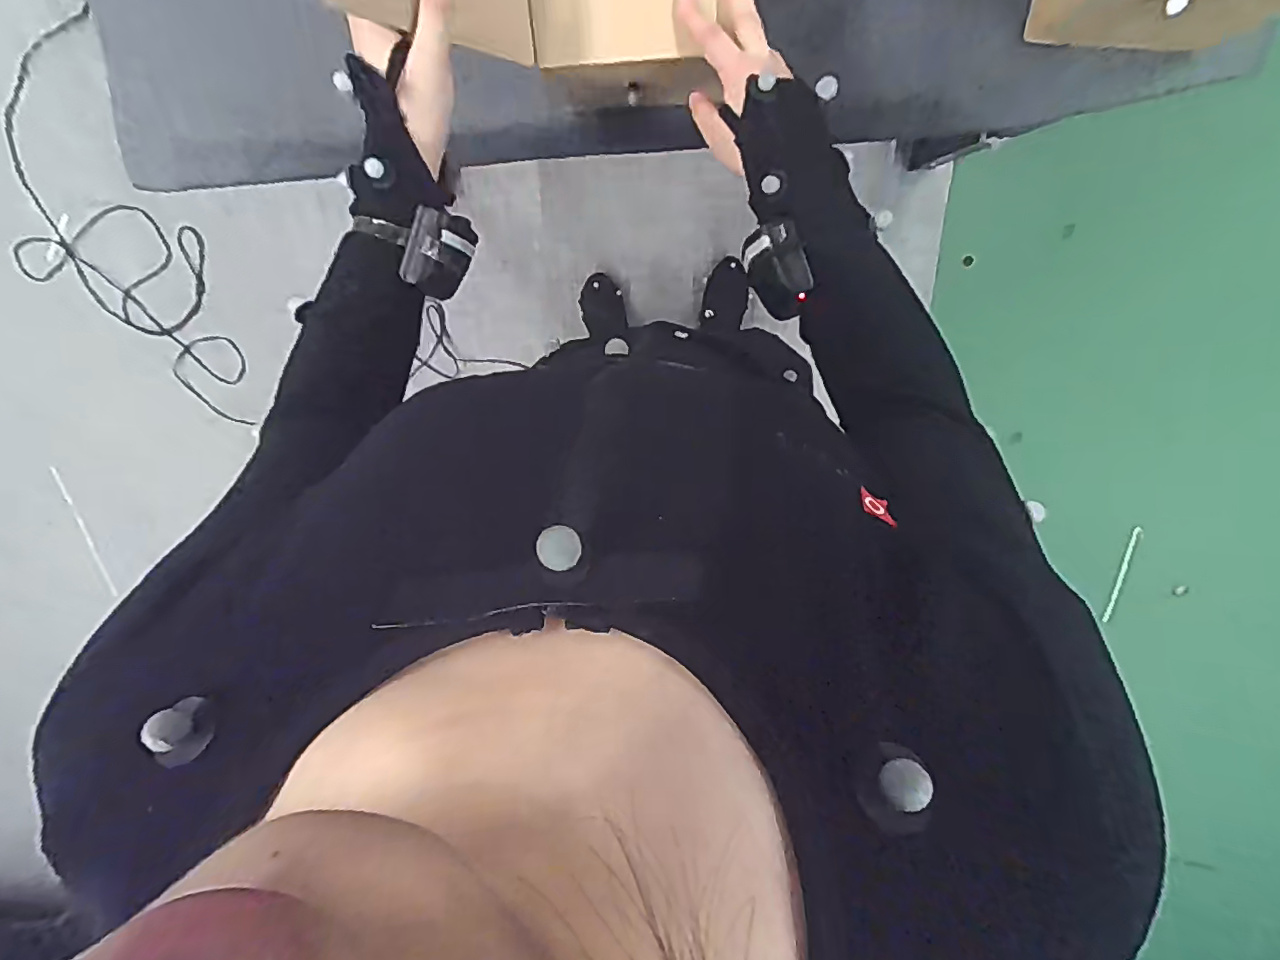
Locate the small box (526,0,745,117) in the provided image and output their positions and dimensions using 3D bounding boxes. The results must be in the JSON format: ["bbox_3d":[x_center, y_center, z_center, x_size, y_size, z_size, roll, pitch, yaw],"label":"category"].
[{"bbox_3d":[0.000,-0.443,0.487,0.179,0.176,0.168,0,114,6],"label":"small box"}]
